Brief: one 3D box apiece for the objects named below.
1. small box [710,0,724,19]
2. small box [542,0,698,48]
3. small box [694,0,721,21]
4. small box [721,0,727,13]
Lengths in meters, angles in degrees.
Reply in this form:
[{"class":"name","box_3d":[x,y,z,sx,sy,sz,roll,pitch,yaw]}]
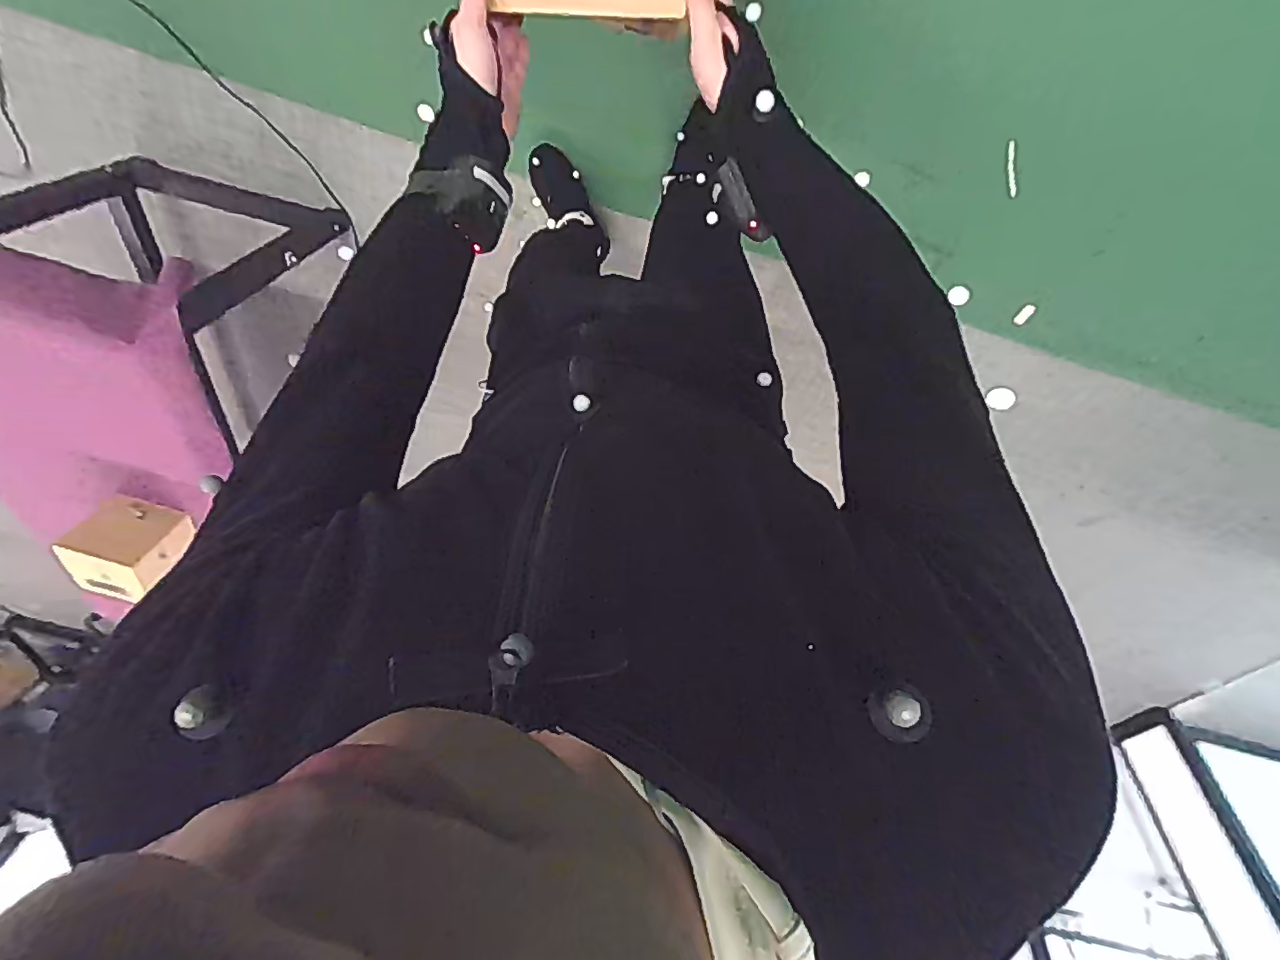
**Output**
[{"class":"small box","box_3d":[0.069,-0.855,0.844,0.179,0.176,0.168,15,133,-2]},{"class":"small box","box_3d":[-0.003,-0.632,0.614,0.168,0.176,0.179,16,134,-3]},{"class":"small box","box_3d":[0.039,-0.746,0.726,0.179,0.176,0.168,13,134,-1]},{"class":"small box","box_3d":[0.092,-0.965,0.962,0.179,0.176,0.168,14,133,-2]}]
